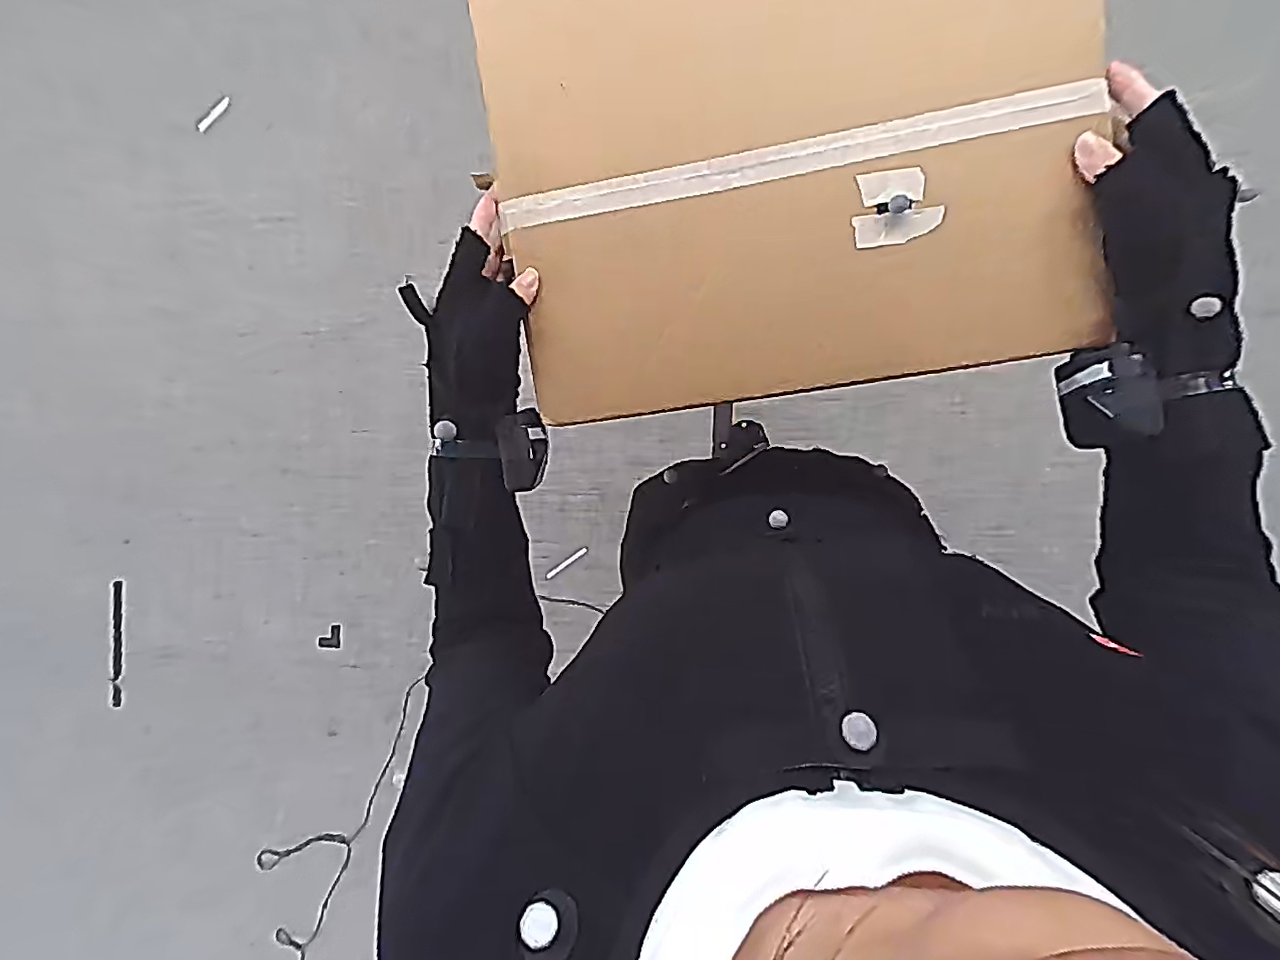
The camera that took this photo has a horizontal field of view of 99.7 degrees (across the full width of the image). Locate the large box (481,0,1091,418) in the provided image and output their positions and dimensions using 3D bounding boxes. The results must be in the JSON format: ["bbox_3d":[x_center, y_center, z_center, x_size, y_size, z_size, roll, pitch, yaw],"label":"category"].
[{"bbox_3d":[0.113,-0.247,0.533,0.408,0.320,0.320,-8,98,6],"label":"large box"}]
